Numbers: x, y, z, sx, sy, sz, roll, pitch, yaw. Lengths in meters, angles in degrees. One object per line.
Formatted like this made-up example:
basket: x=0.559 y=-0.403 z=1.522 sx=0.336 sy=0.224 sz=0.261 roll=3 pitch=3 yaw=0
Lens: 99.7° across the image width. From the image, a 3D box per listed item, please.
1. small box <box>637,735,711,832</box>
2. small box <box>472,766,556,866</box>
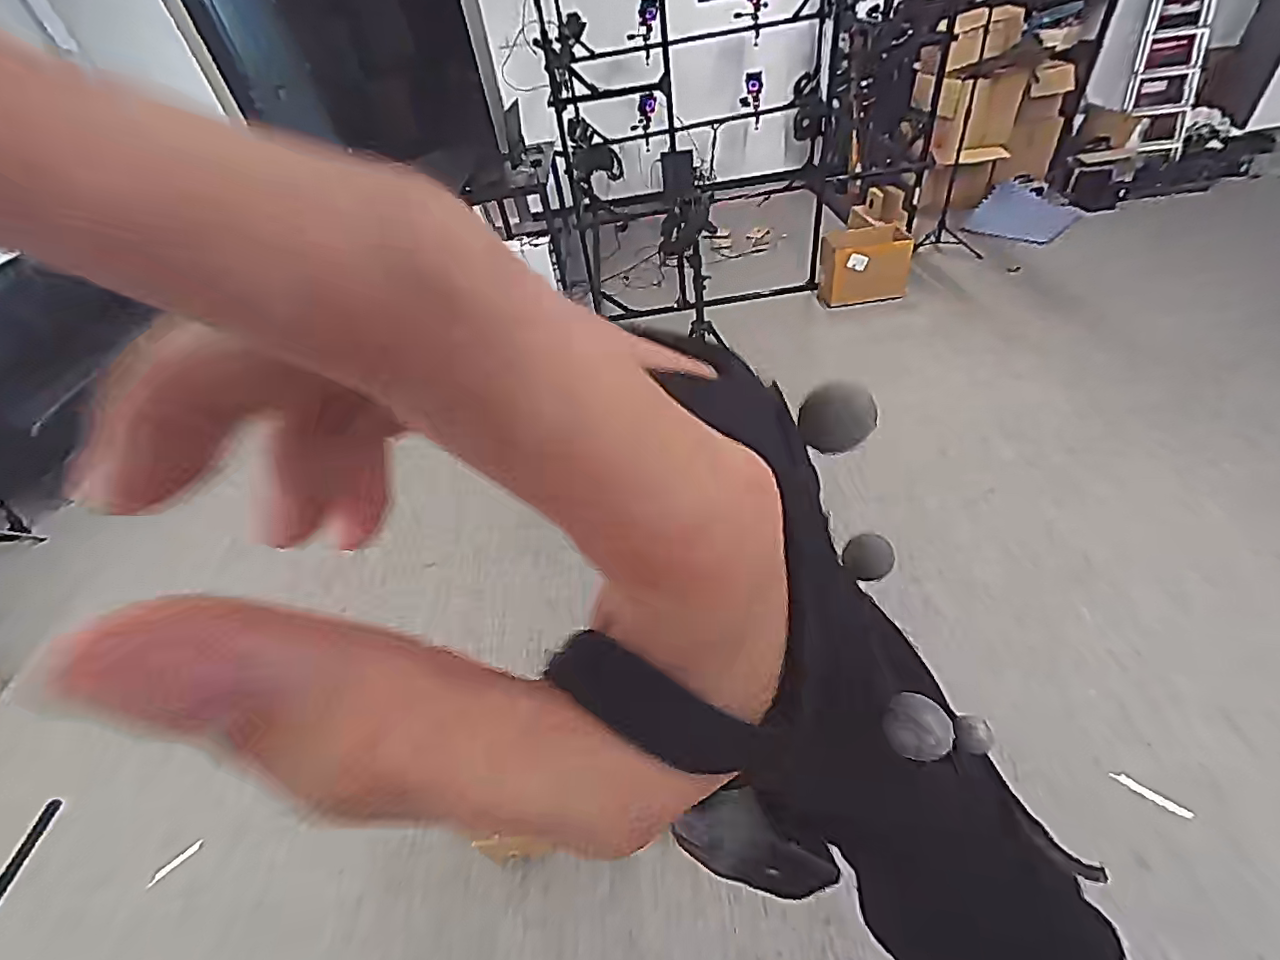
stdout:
small box: x=0.091 y=0.804 z=1.423 sx=0.168 sy=0.176 sz=0.179 roll=-9 pitch=42 yaw=1
small box: x=-0.321 y=0.882 z=1.419 sx=0.168 sy=0.176 sz=0.179 roll=-10 pitch=42 yaw=3
